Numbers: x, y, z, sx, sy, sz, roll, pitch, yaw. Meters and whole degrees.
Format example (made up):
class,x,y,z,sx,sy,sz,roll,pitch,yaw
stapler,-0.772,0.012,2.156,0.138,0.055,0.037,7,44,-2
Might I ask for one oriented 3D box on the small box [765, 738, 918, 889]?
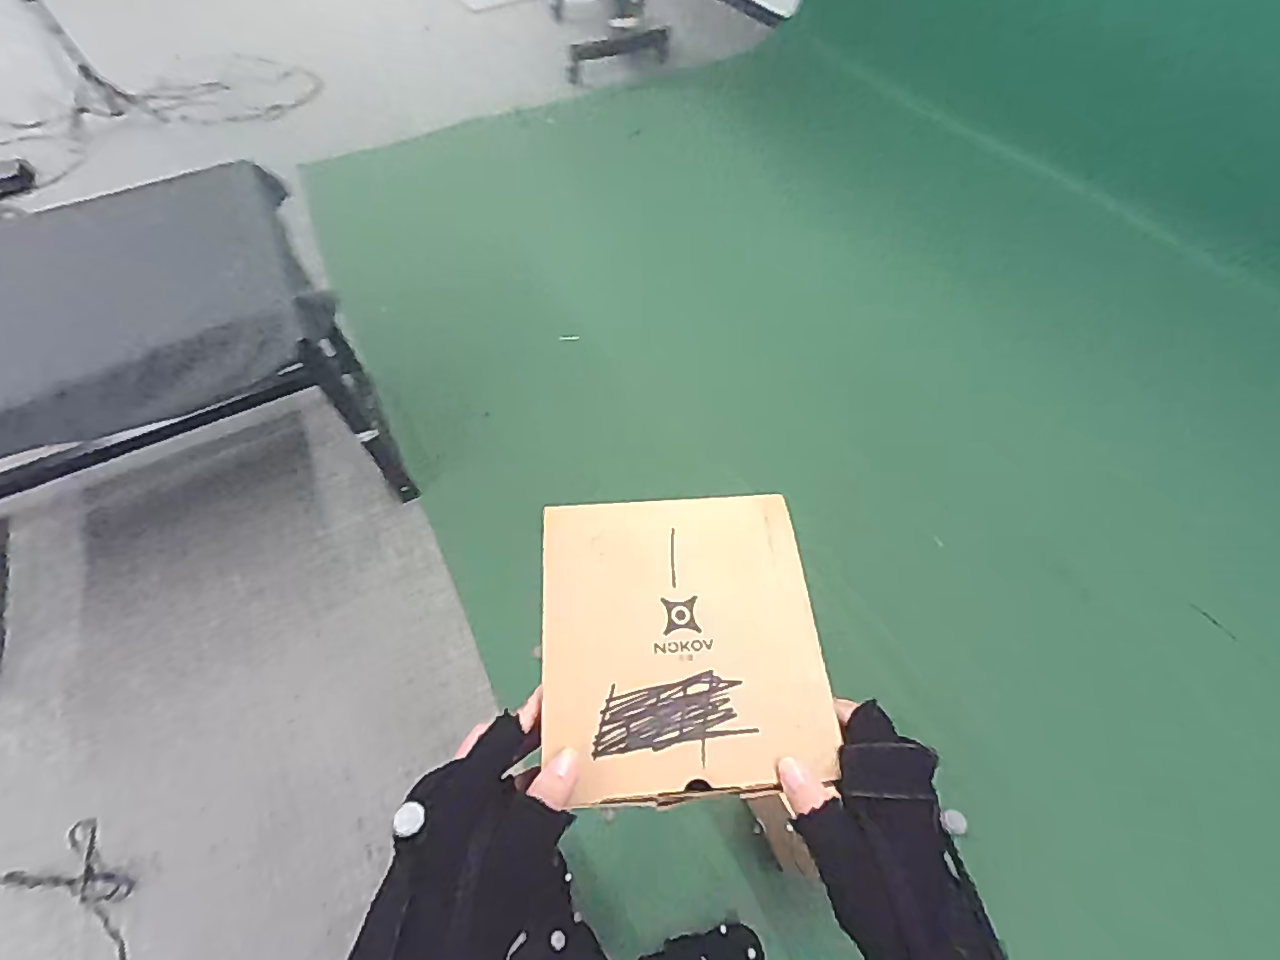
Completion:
class,x,y,z,sx,sy,sz,roll,pitch,yaw
small box,0.352,0.601,0.983,0.179,0.176,0.168,-24,59,-15

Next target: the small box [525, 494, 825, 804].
class,x,y,z,sx,sy,sz,roll,pitch,yaw
small box,0.013,0.128,0.398,0.168,0.176,0.179,-3,60,-4

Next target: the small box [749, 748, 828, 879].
class,x,y,z,sx,sy,sz,roll,pitch,yaw
small box,0.347,0.688,1.123,0.179,0.176,0.168,-25,59,-13
